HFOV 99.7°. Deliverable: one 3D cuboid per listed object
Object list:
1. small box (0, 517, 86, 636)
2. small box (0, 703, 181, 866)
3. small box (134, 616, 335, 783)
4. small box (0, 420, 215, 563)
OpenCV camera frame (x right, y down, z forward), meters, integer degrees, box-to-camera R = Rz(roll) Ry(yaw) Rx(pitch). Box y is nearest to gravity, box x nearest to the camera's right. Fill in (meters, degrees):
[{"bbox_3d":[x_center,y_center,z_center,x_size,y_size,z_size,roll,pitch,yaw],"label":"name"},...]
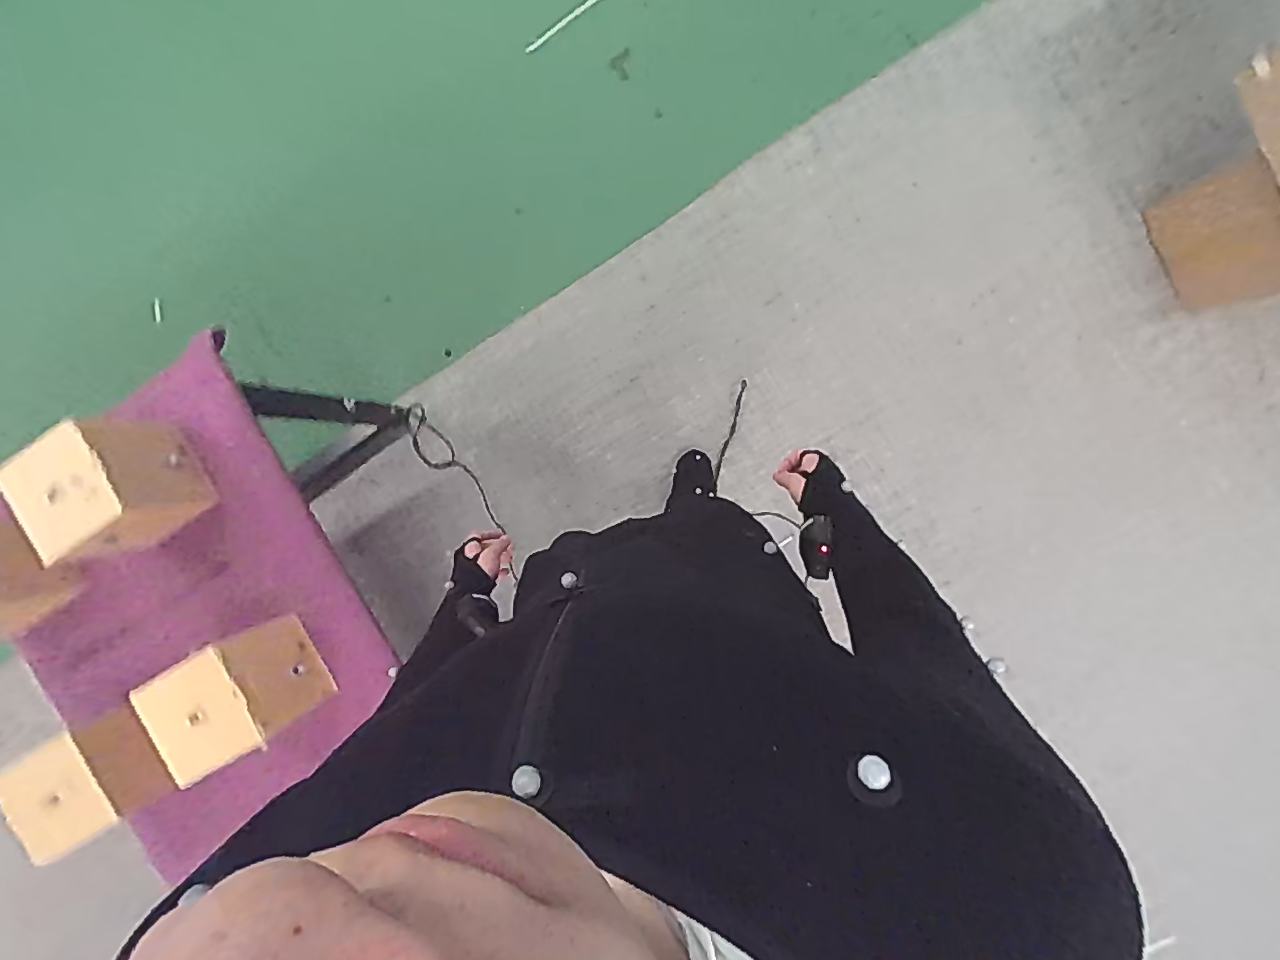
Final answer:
[{"bbox_3d":[-1.153,0.181,0.943,0.179,0.176,0.168,-32,91,5],"label":"small box"},{"bbox_3d":[-0.923,0.507,0.940,0.179,0.176,0.168,-31,90,5],"label":"small box"},{"bbox_3d":[-0.665,0.356,0.906,0.179,0.176,0.168,-31,89,7],"label":"small box"},{"bbox_3d":[-0.881,0.014,0.907,0.179,0.176,0.168,-30,91,8],"label":"small box"}]
